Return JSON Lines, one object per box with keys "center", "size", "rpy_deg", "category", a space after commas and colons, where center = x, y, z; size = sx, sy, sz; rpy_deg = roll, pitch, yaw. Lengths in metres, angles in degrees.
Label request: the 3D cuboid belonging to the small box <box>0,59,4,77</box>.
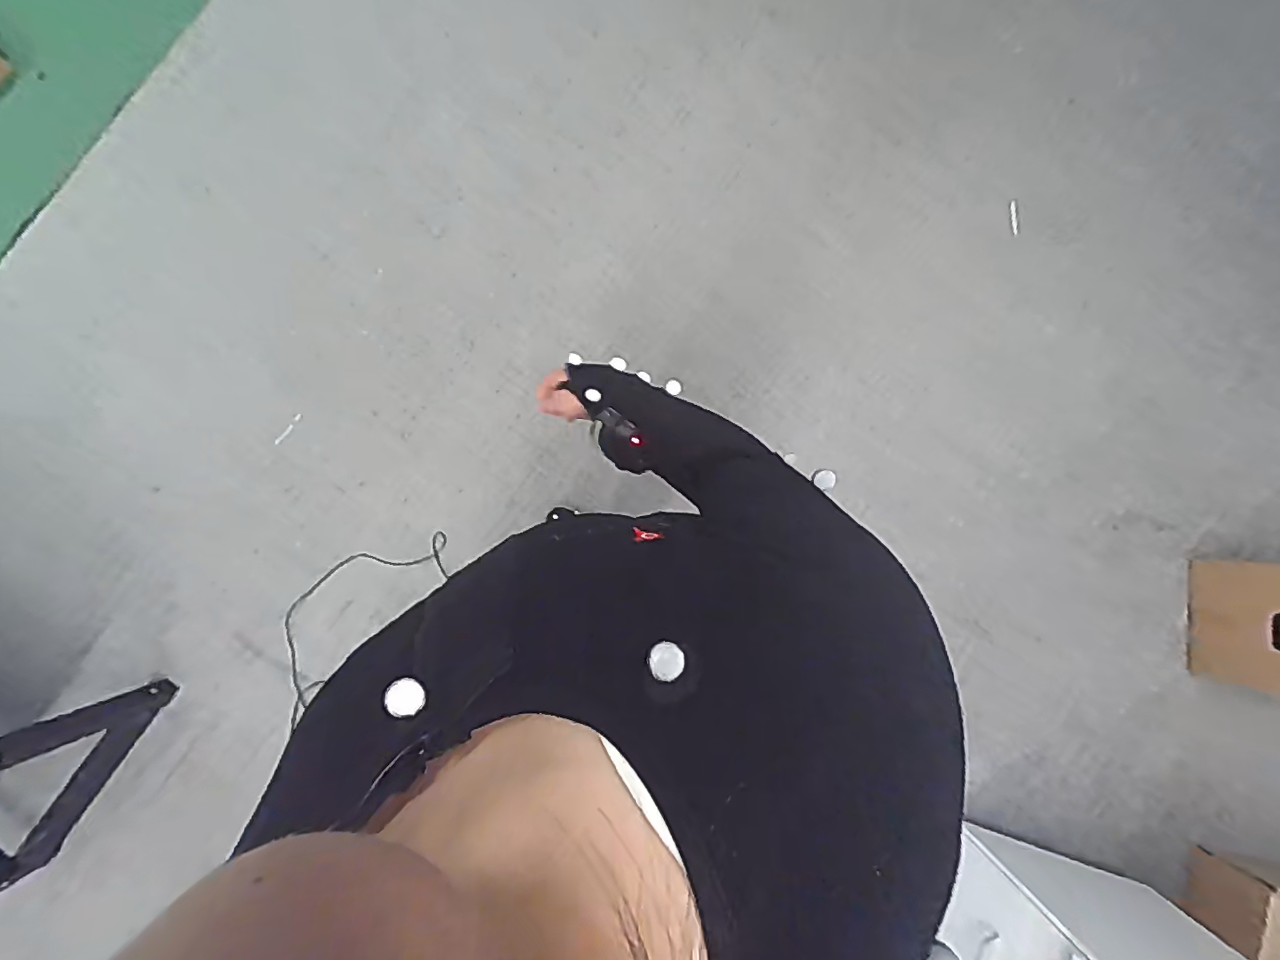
{"center": [-1.977, -1.218, 1.519], "size": [0.168, 0.176, 0.179], "rpy_deg": [41, 88, 2], "category": "small box"}
